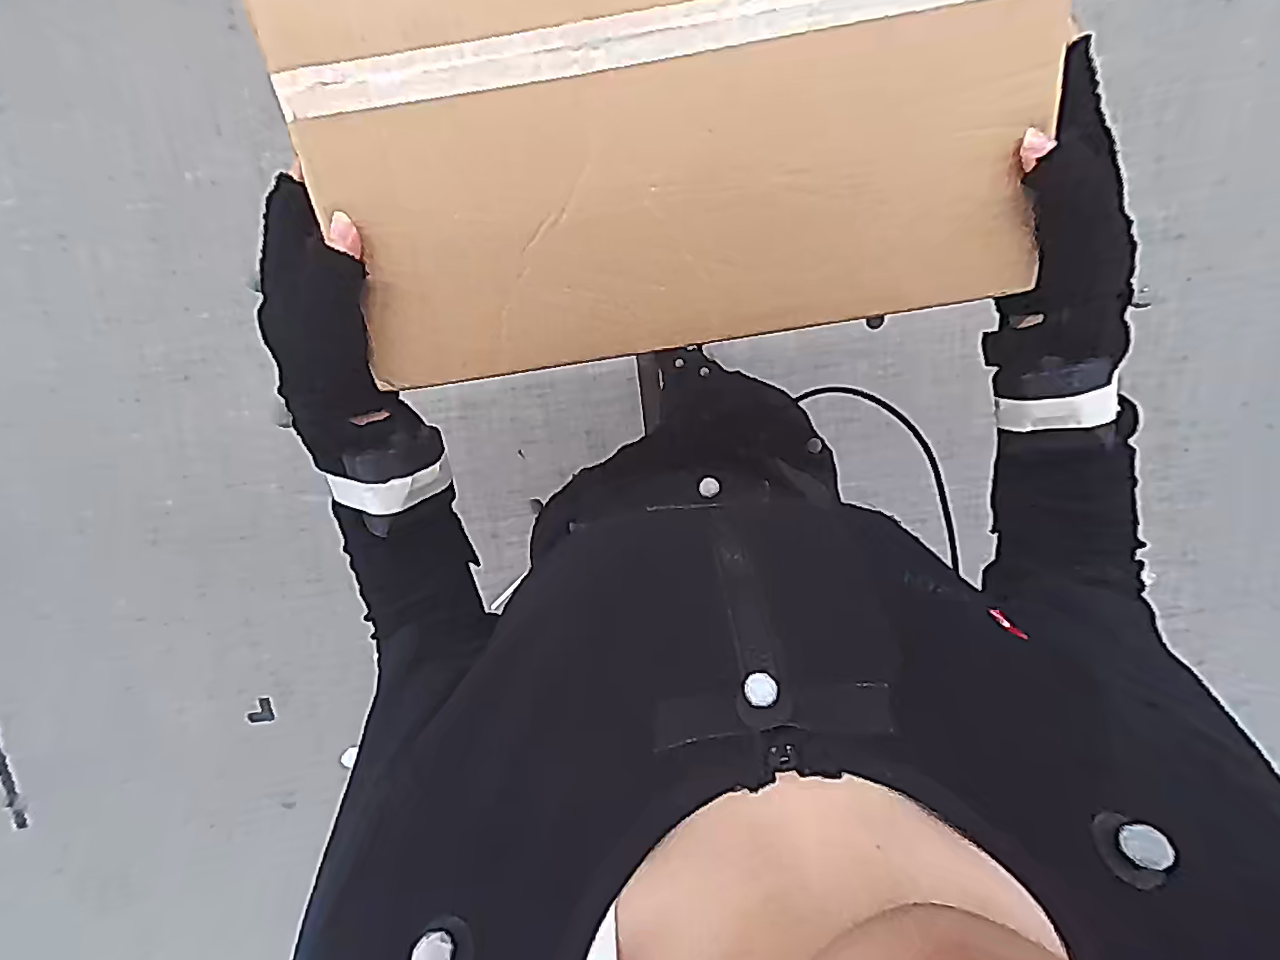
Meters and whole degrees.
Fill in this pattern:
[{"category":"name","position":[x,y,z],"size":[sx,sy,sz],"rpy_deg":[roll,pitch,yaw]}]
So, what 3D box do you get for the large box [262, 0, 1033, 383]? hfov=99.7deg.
[{"category":"large box","position":[0.007,-0.290,0.422],"size":[0.408,0.320,0.320],"rpy_deg":[-9,111,2]}]
